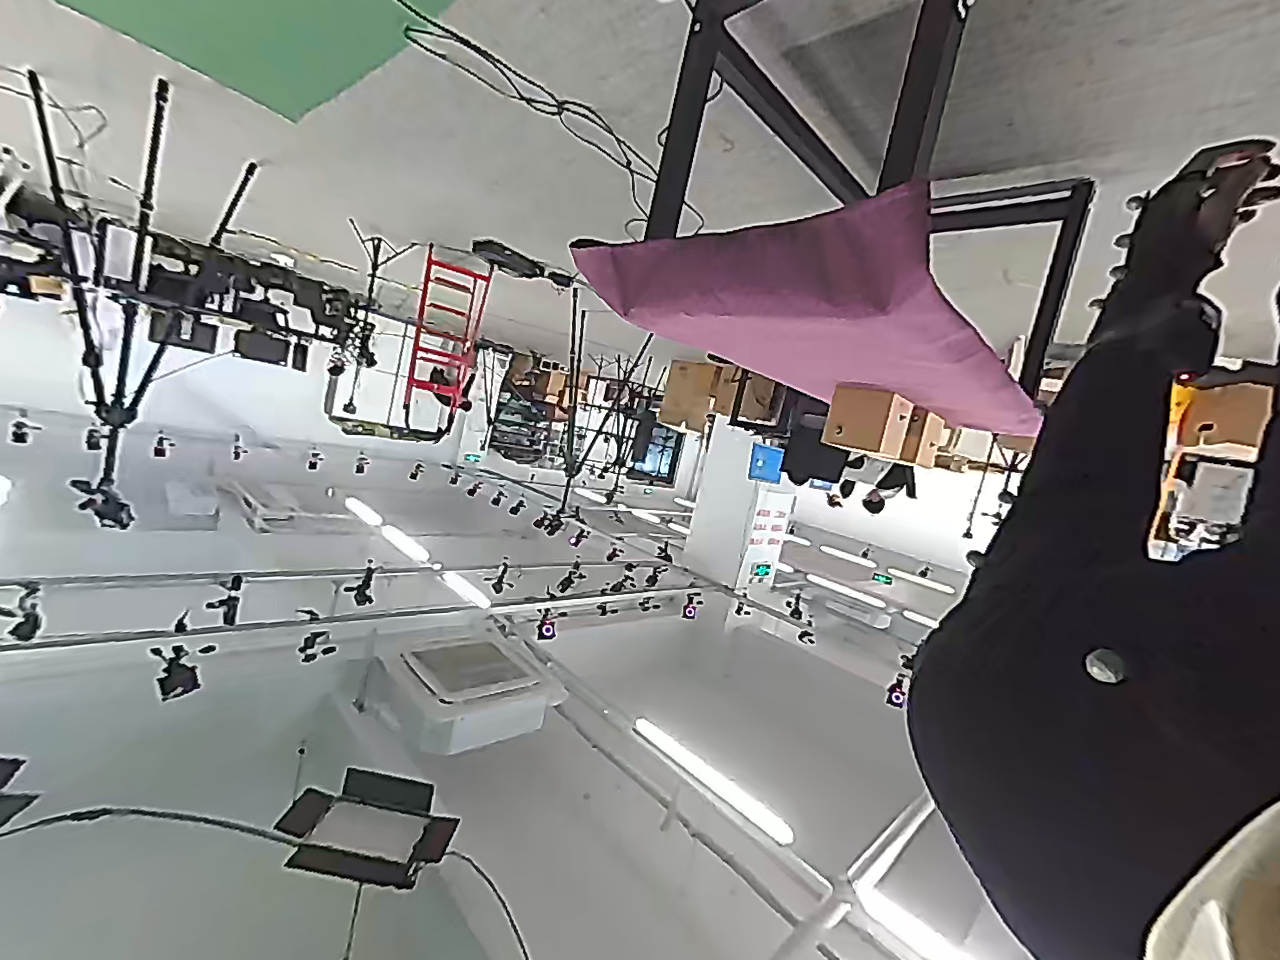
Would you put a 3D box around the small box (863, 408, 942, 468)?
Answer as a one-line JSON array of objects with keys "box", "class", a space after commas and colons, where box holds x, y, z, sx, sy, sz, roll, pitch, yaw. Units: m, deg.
[{"box": [0.847, -0.144, 1.743, 0.168, 0.176, 0.179, 17, -172, 43], "class": "small box"}]

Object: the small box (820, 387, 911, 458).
[{"box": [0.657, -0.171, 1.573, 0.179, 0.176, 0.168, 17, -173, 42], "class": "small box"}]
